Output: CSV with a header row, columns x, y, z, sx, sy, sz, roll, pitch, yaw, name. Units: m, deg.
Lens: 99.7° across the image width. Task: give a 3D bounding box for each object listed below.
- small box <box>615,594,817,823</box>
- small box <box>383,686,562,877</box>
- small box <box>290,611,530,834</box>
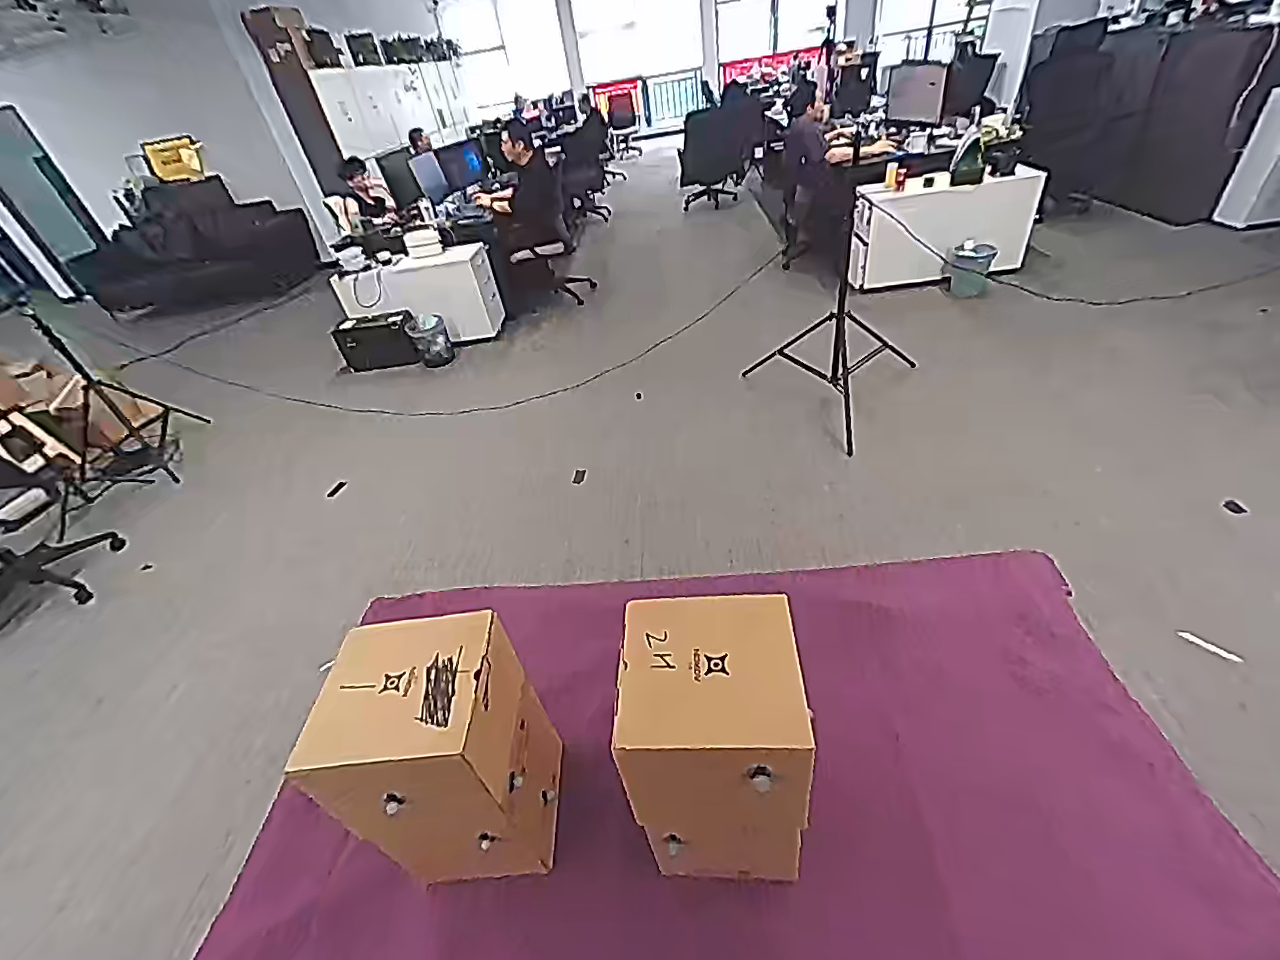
x,y,z,sx,sy,sz,roll,pitch,yaw,name
0.080,0.241,0.573,0.179,0.176,0.168,-4,37,8,small box
-0.212,0.399,0.714,0.179,0.176,0.168,-7,38,3,small box
-0.234,0.273,0.610,0.179,0.176,0.168,-8,37,3,small box
